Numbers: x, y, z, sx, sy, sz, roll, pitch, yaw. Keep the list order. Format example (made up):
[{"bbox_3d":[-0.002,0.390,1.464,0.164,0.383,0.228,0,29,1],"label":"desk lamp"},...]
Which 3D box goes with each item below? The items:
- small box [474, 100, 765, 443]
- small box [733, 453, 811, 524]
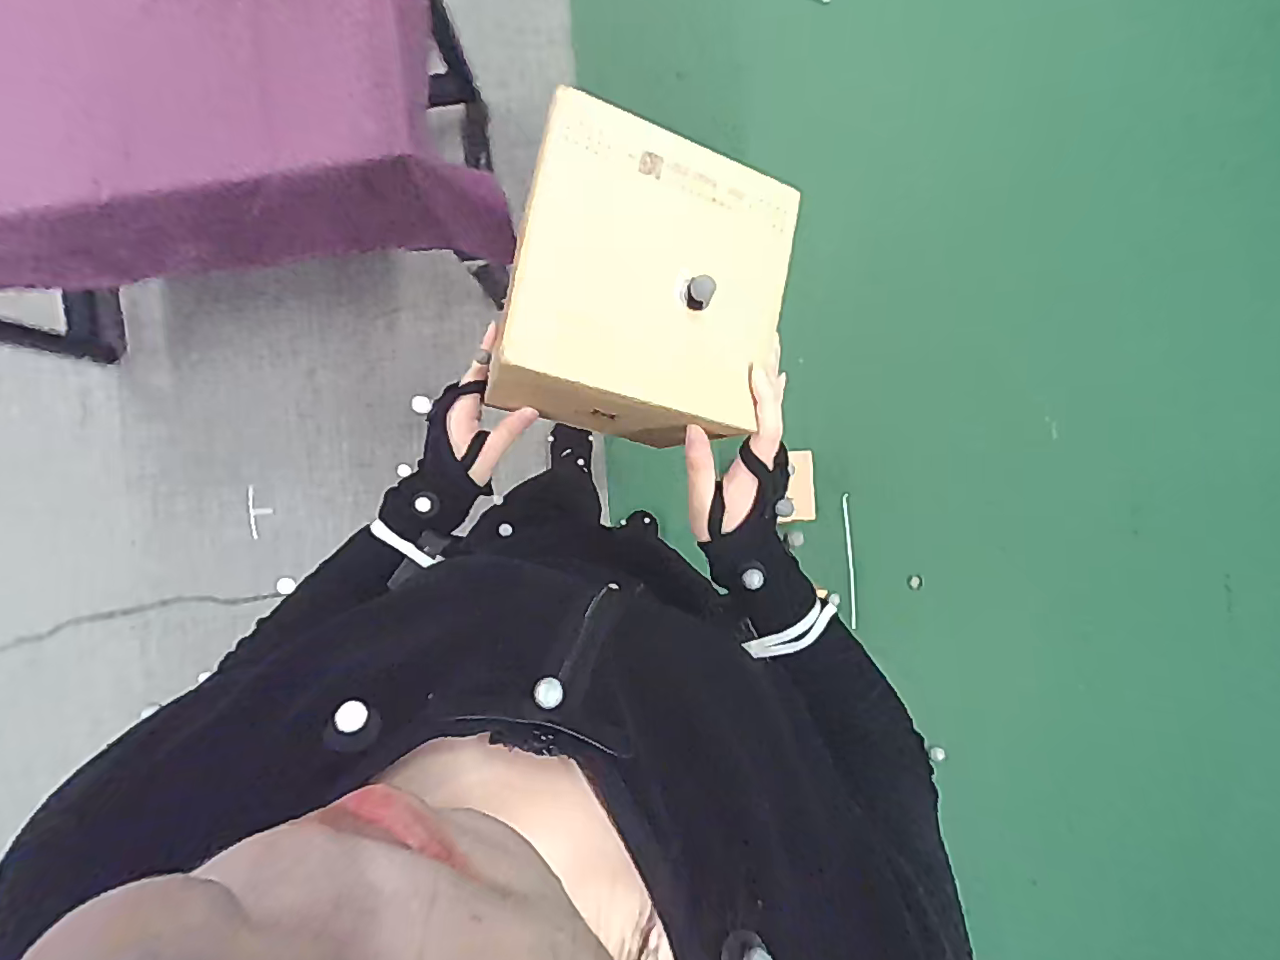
[{"bbox_3d":[-0.023,-0.130,0.404,0.168,0.179,0.176,11,87,-19],"label":"small box"},{"bbox_3d":[0.341,0.021,1.422,0.168,0.176,0.179,-2,89,0],"label":"small box"}]
